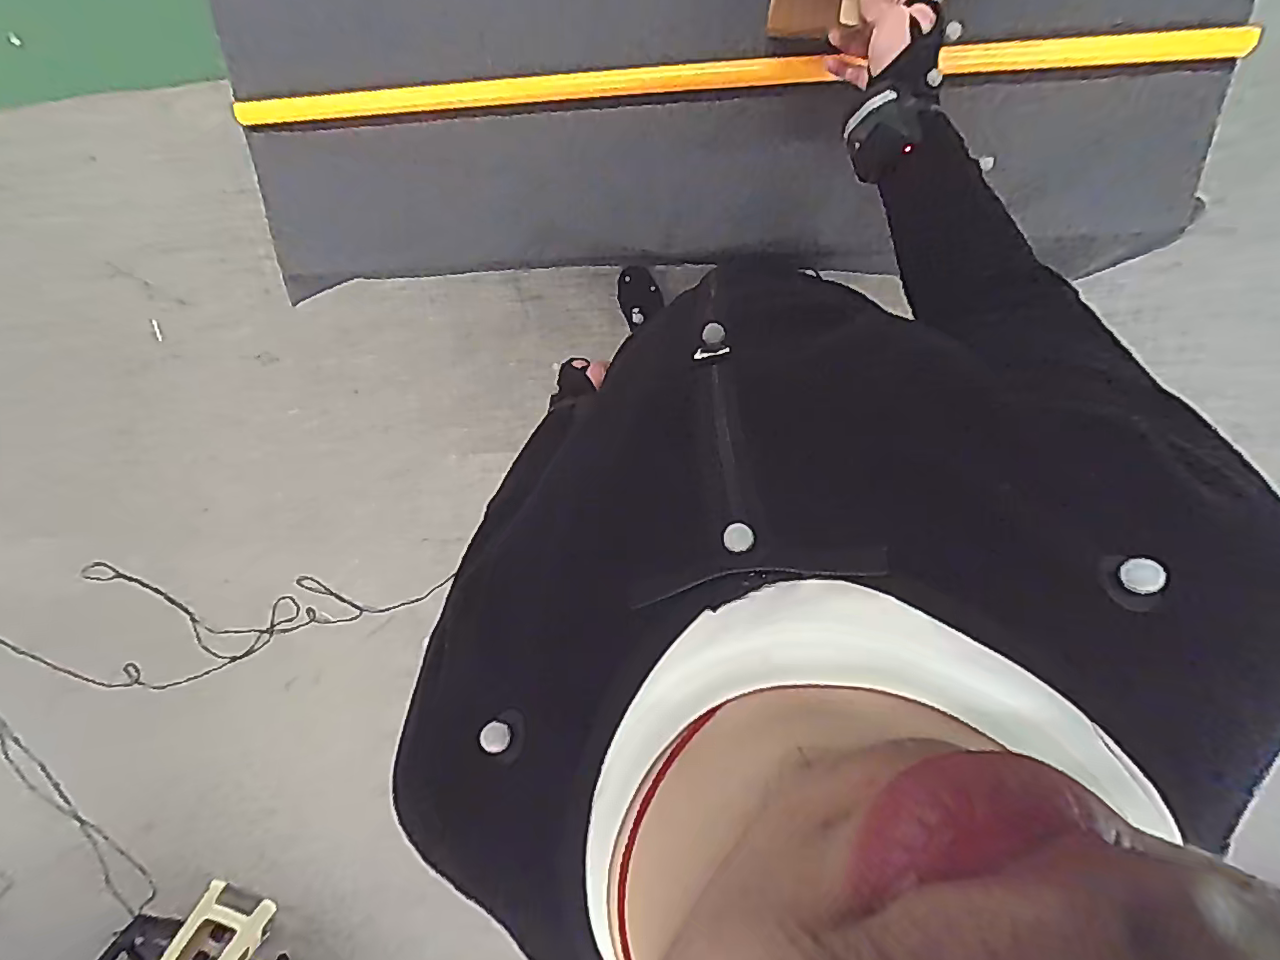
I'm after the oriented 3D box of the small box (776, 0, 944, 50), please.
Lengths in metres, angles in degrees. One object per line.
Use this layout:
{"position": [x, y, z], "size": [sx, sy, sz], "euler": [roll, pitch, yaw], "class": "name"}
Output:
{"position": [0.229, -0.559, 0.538], "size": [0.168, 0.176, 0.179], "euler": [4, 111, 9], "class": "small box"}
